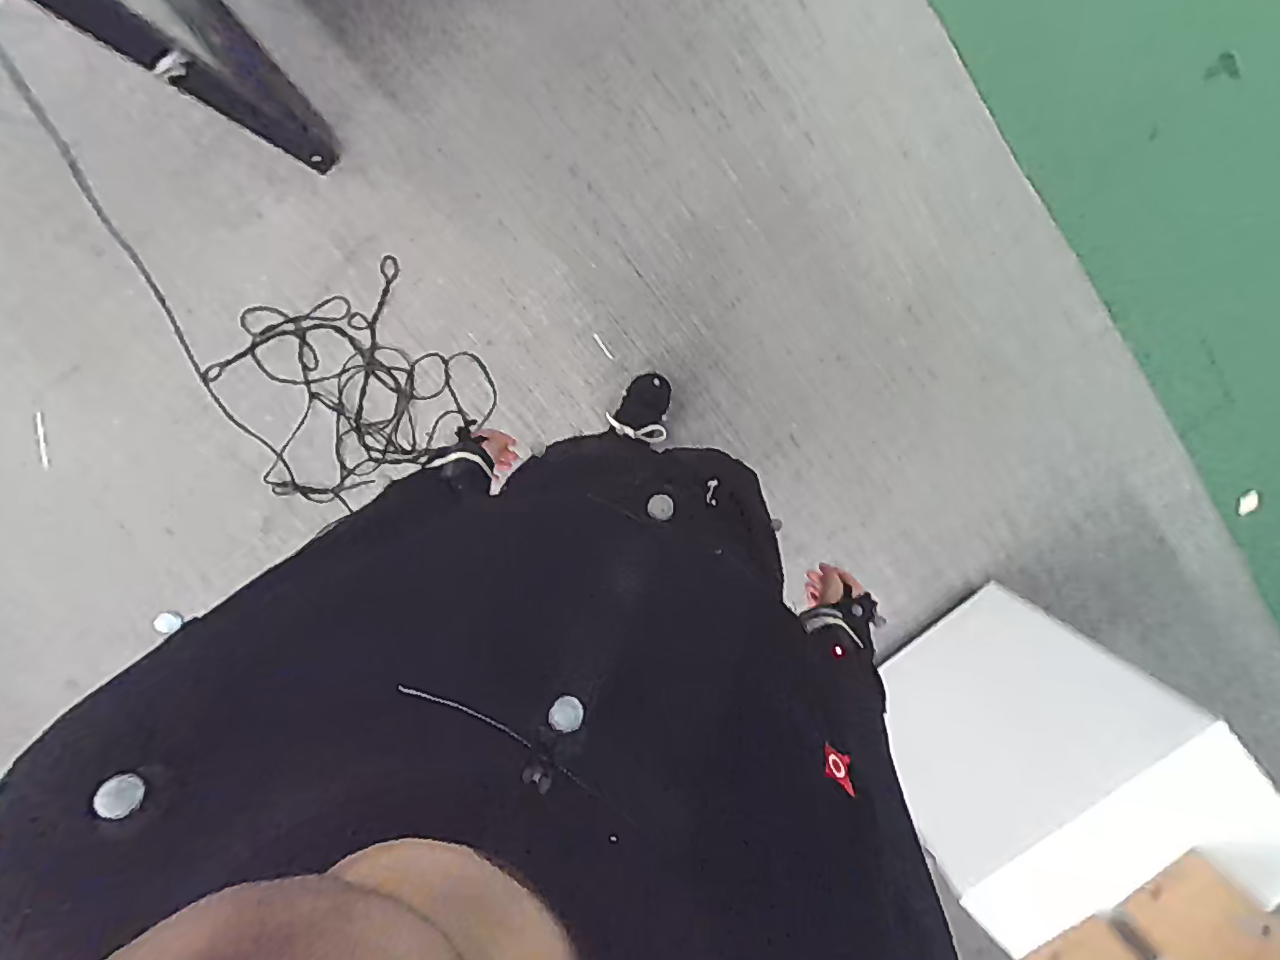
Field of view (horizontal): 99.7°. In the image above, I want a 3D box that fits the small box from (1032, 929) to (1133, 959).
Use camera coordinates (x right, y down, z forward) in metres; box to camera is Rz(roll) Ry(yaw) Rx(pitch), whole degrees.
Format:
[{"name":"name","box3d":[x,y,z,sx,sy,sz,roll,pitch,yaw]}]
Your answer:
[{"name":"small box","box3d":[0.779,0.886,0.877,0.168,0.176,0.179,-38,101,7]}]
